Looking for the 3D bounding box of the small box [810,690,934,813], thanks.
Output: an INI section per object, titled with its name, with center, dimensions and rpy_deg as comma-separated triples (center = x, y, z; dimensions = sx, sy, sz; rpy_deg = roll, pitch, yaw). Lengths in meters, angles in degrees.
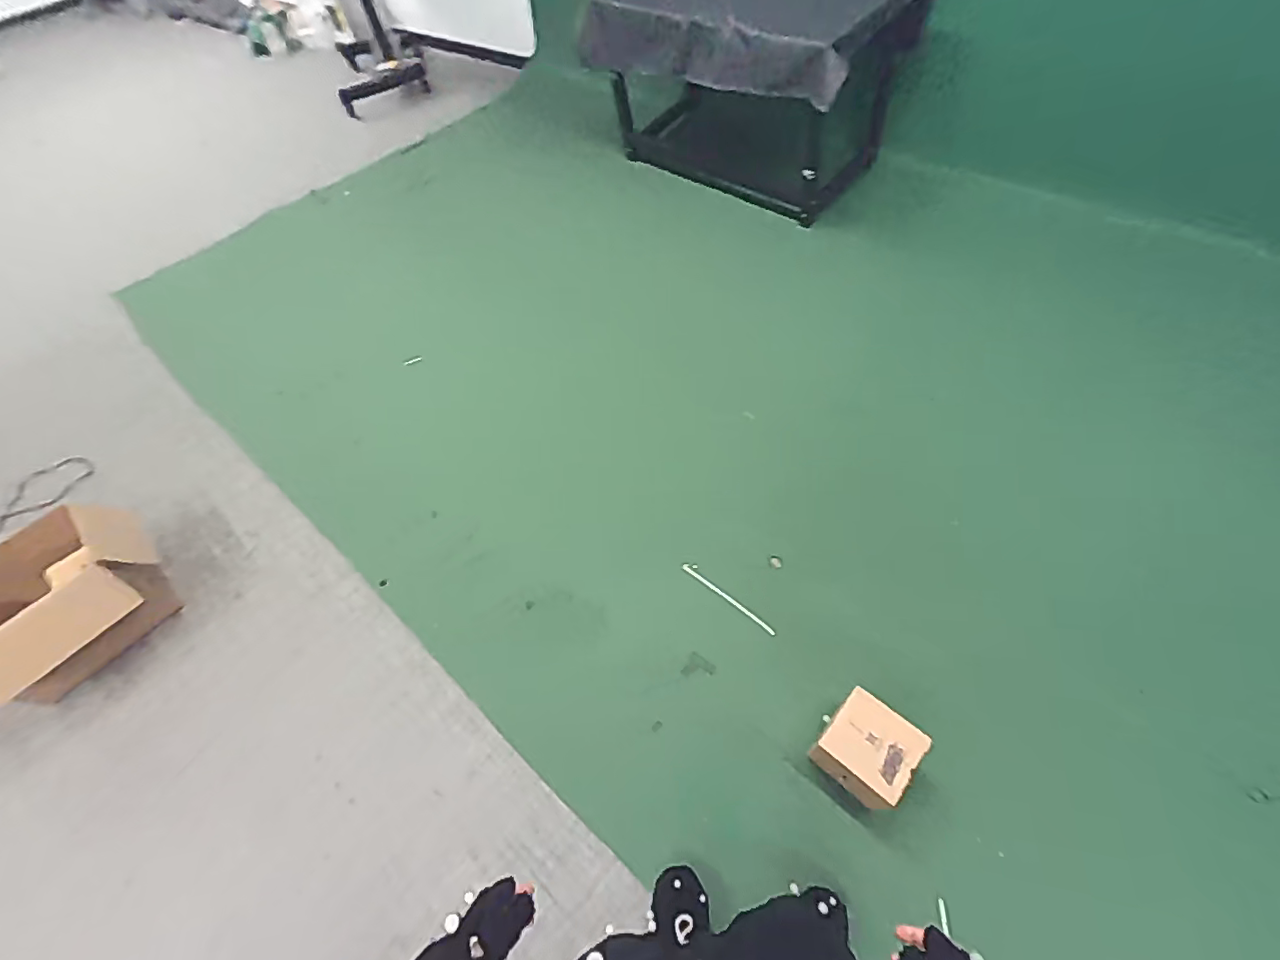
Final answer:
[small box]
center = 0.504, 0.603, 1.198
dimensions = 0.179, 0.176, 0.168
rpy_deg = 35, 66, 27
